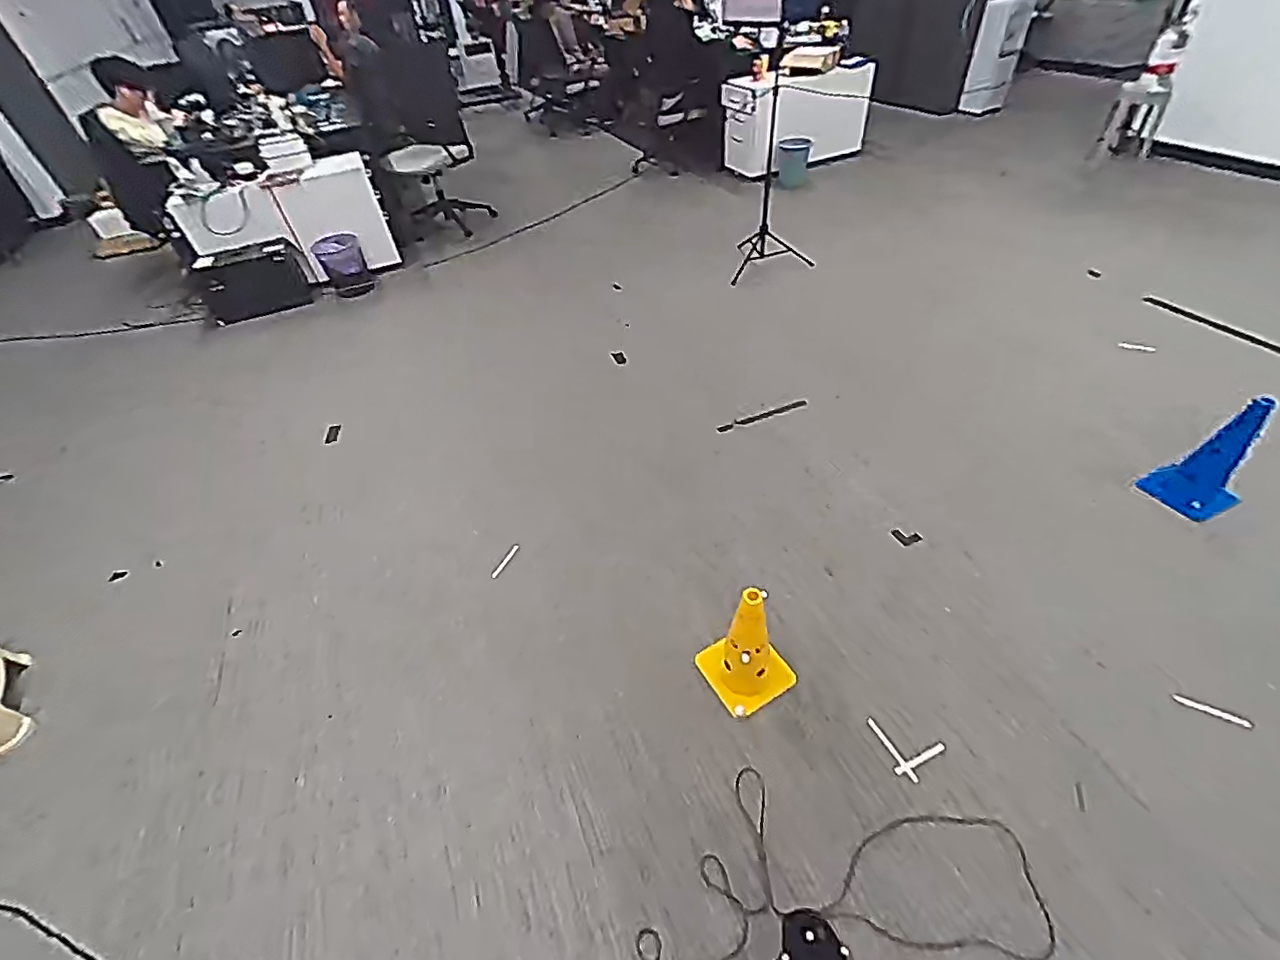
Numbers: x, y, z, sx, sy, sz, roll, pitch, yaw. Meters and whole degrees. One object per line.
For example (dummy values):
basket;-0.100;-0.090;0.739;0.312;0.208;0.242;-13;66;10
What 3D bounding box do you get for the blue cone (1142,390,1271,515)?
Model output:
blue cone;1.702;-0.092;1.577;0.193;0.380;0.192;-19;45;-12
